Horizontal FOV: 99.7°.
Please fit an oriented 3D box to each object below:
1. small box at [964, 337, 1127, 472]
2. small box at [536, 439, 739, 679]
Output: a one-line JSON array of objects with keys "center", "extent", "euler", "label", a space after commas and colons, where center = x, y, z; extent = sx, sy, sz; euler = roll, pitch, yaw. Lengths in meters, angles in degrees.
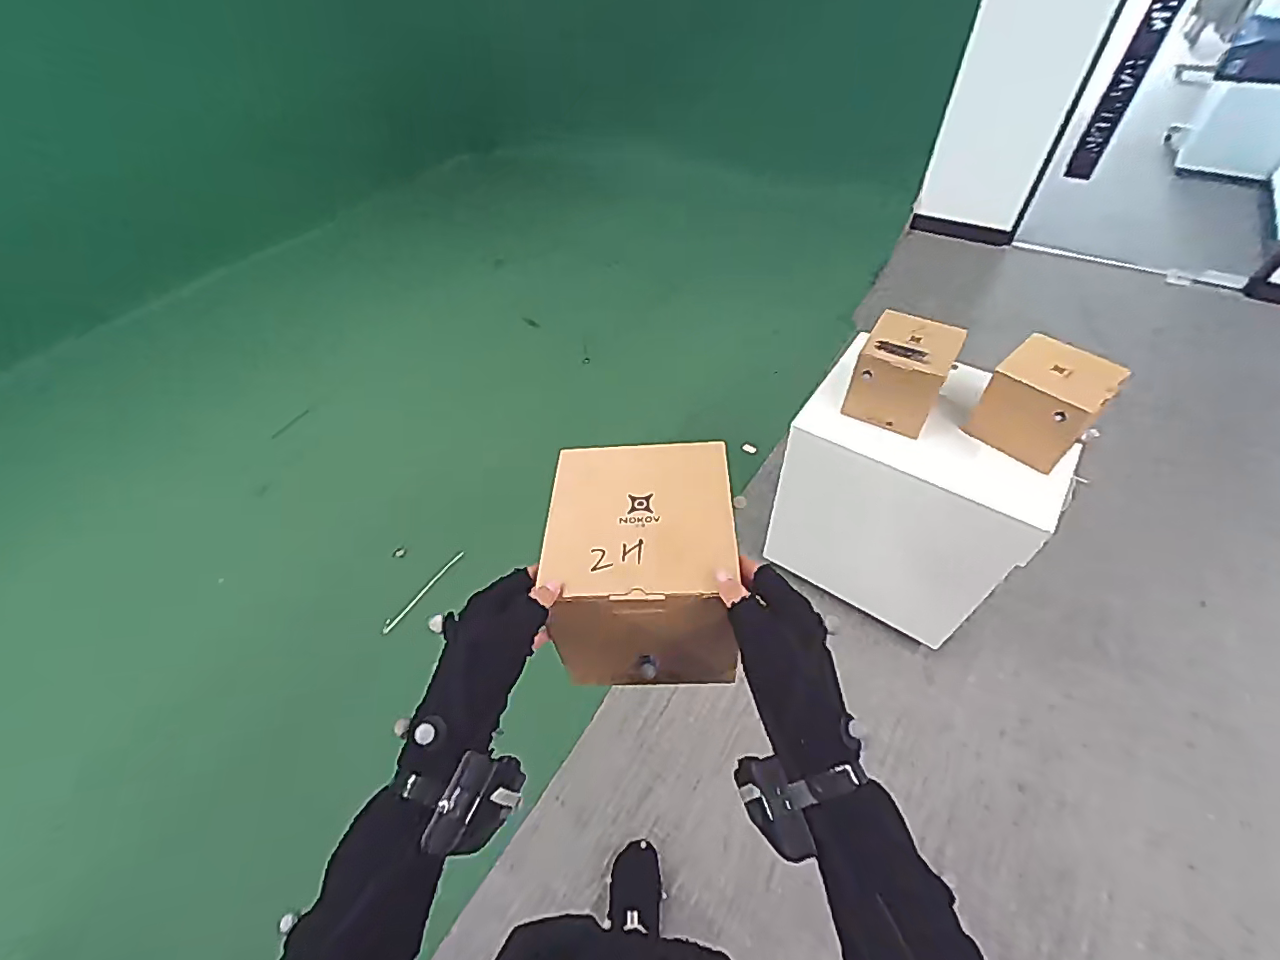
[{"center": [0.783, -0.147, 1.065], "extent": [0.168, 0.176, 0.179], "euler": [-36, 56, -22], "label": "small box"}, {"center": [0.007, 0.079, 0.543], "extent": [0.168, 0.176, 0.179], "euler": [-2, 47, 6], "label": "small box"}]
